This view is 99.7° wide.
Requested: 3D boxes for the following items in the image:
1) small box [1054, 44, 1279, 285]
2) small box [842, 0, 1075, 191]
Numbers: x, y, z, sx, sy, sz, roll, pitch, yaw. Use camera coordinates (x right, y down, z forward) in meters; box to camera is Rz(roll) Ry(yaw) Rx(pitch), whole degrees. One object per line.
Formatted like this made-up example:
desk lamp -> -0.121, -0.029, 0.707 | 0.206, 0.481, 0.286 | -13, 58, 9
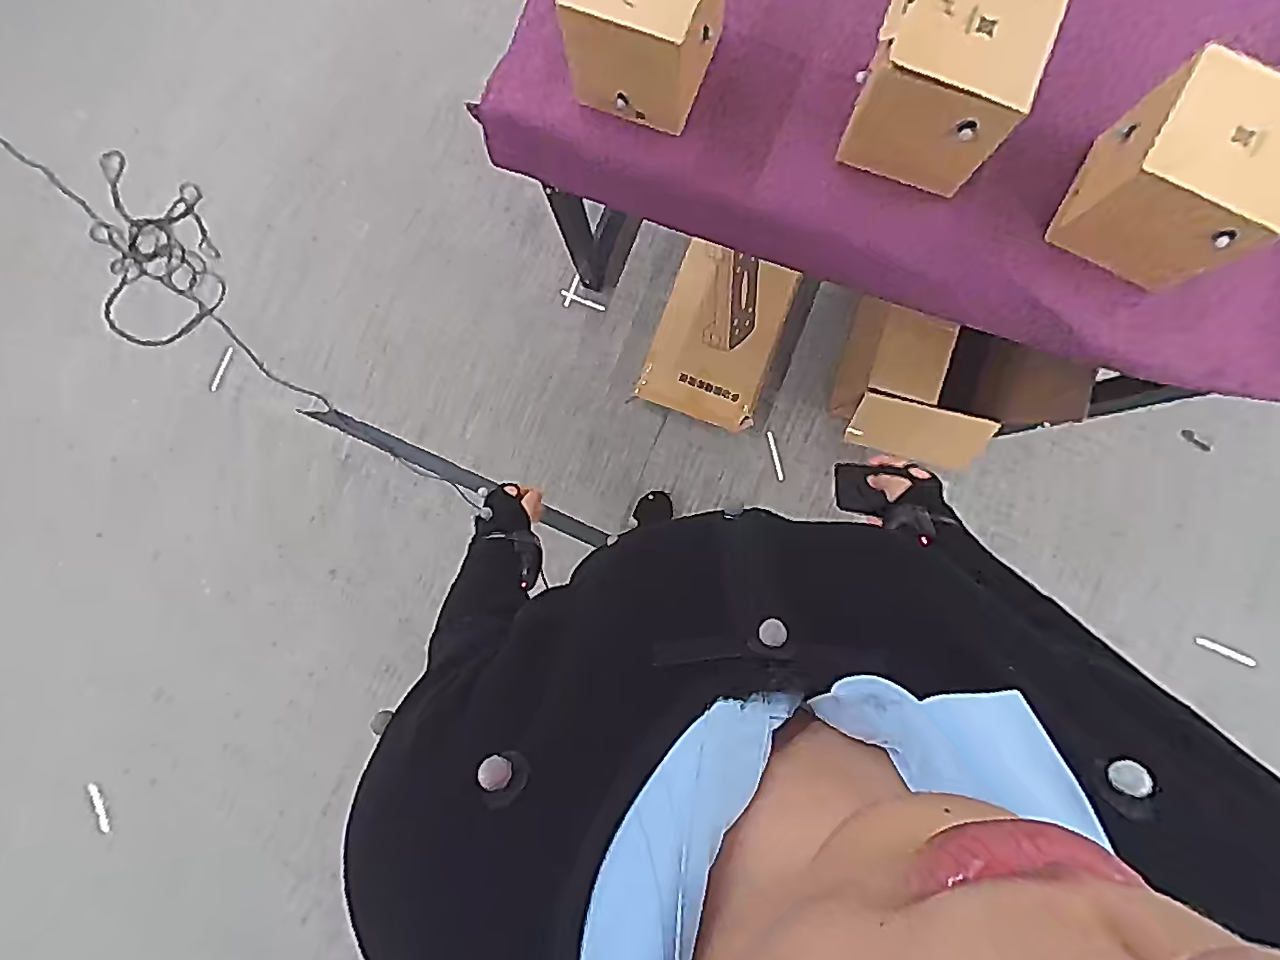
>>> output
small box -> 0.679, -0.373, 0.675 | 0.179, 0.176, 0.168 | 28, 90, 4
small box -> 0.392, -0.510, 0.695 | 0.179, 0.176, 0.168 | 21, 87, 4
